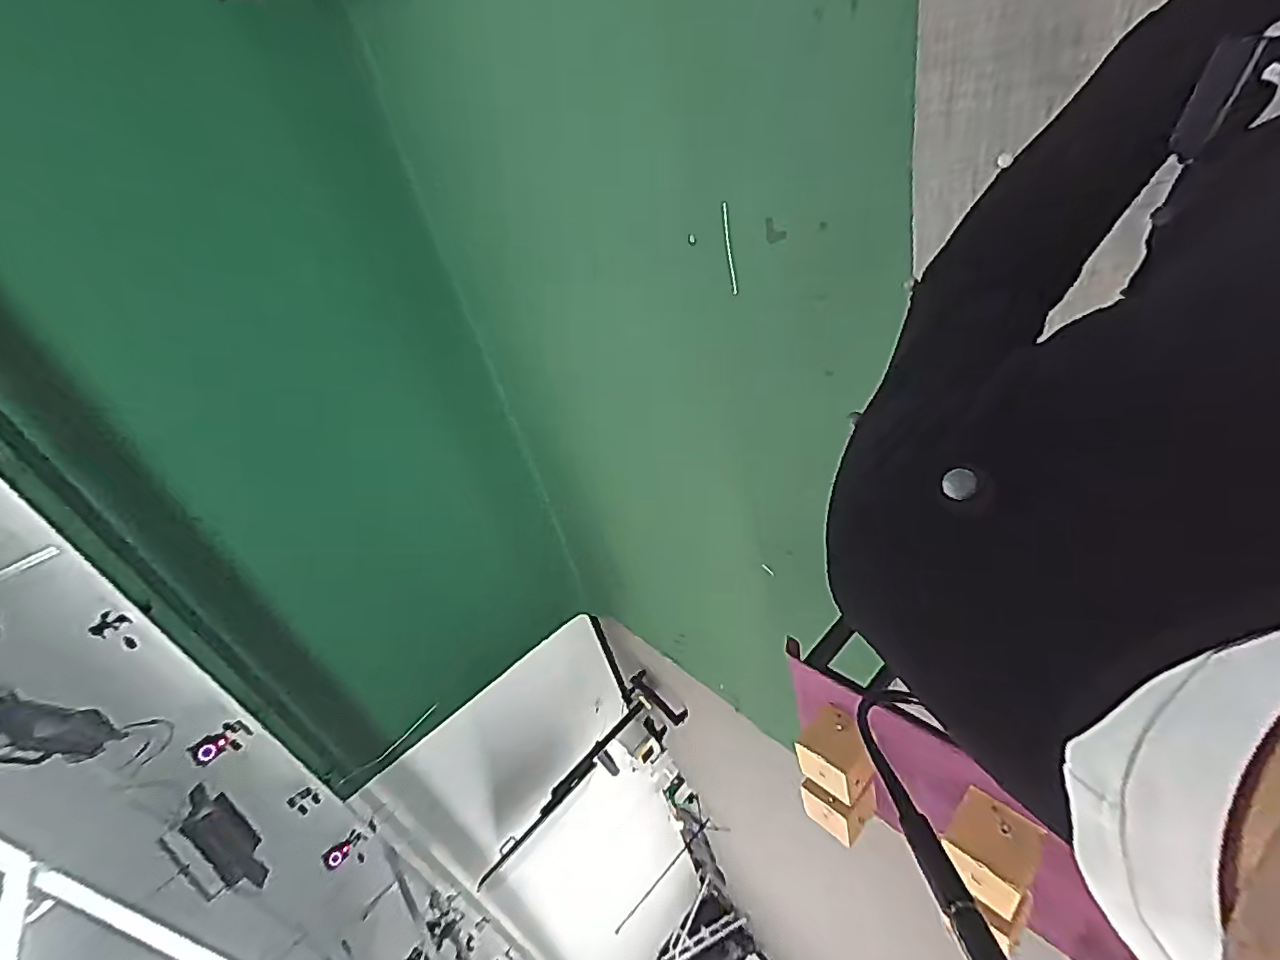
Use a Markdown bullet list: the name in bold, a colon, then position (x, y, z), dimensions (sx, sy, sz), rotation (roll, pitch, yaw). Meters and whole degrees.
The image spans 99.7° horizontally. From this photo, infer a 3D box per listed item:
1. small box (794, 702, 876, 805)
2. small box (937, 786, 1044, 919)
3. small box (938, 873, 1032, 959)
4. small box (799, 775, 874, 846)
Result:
- **small box**: position (0.585, 0.808, 1.610), dimensions (0.168, 0.176, 0.179), rotation (19, 137, 45)
- **small box**: position (0.848, 0.897, 1.313), dimensions (0.168, 0.176, 0.179), rotation (23, 139, 45)
- **small box**: position (0.924, 1.129, 1.449), dimensions (0.168, 0.176, 0.179), rotation (17, 134, 47)
- **small box**: position (0.645, 1.029, 1.761), dimensions (0.168, 0.176, 0.179), rotation (19, 136, 46)
